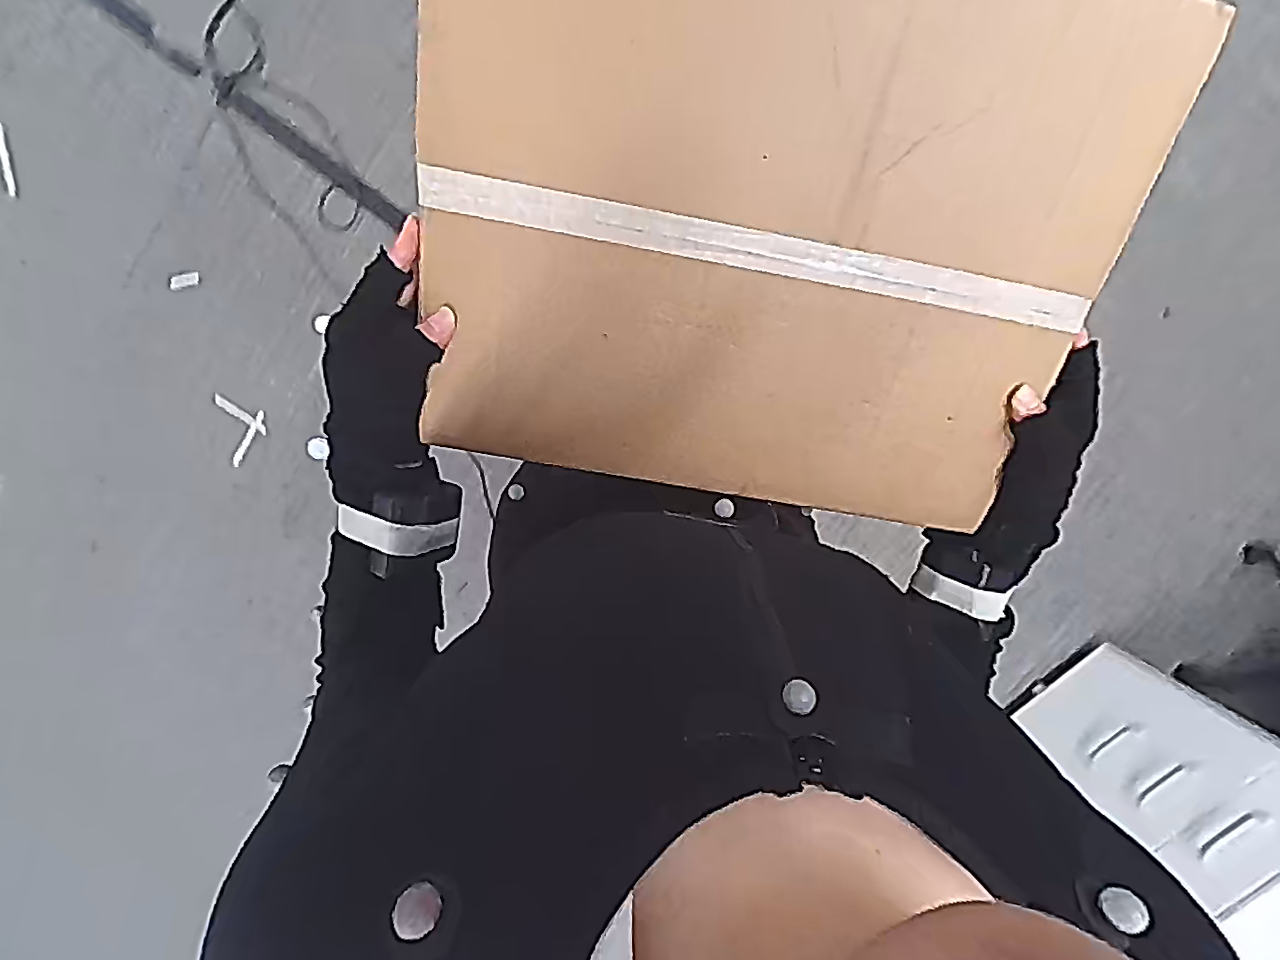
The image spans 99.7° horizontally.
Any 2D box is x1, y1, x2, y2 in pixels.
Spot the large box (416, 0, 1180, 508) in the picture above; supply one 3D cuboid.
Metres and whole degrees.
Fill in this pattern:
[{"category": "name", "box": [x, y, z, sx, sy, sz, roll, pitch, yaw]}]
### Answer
[{"category": "large box", "box": [0.063, -0.201, 0.465, 0.408, 0.320, 0.320, 8, 115, -5]}]
